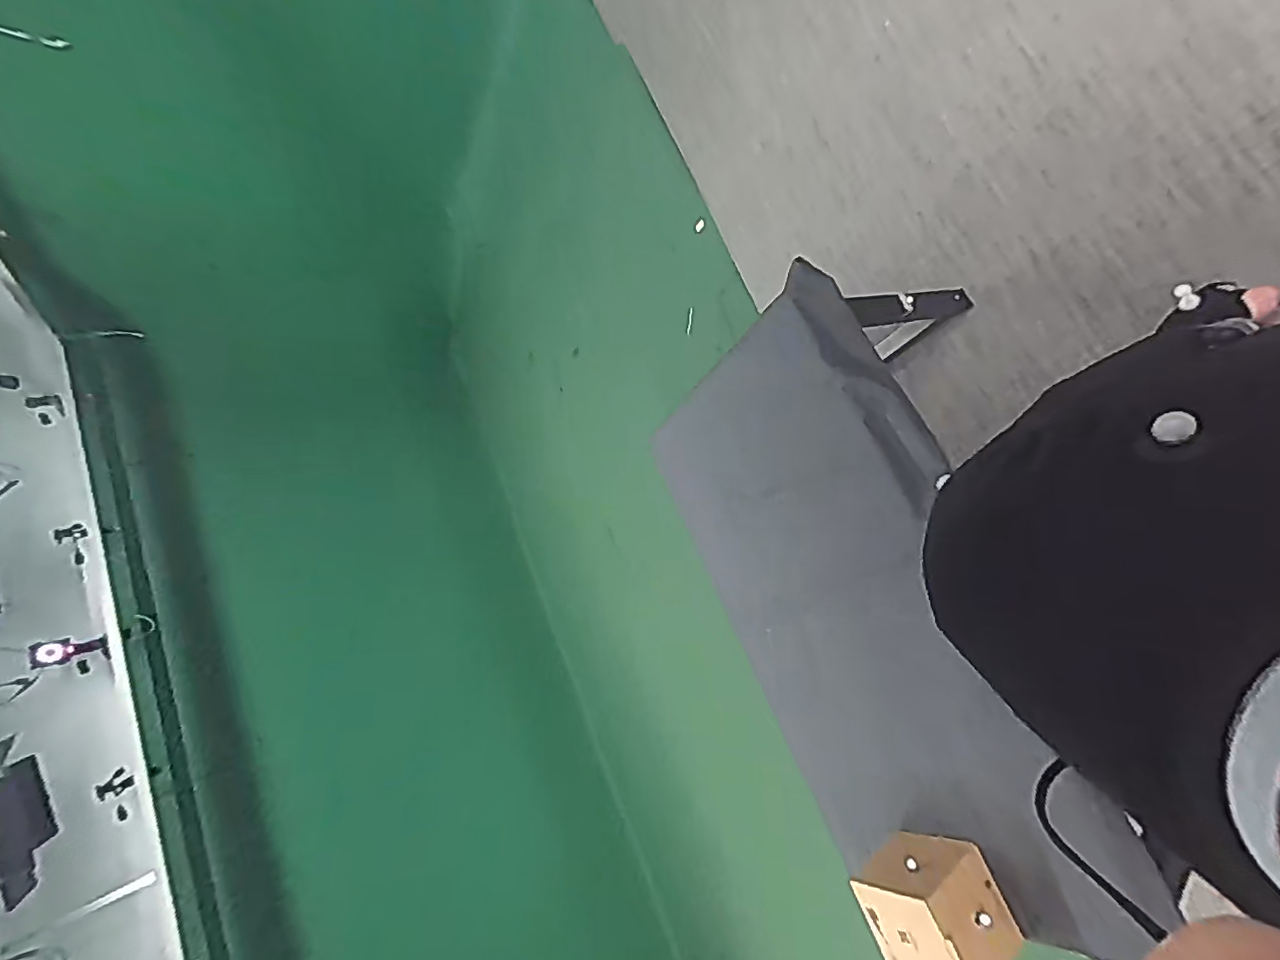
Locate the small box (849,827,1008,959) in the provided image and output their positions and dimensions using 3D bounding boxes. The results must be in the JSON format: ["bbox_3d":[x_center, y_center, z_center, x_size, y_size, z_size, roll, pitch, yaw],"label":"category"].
[{"bbox_3d":[0.533,0.769,0.991,0.179,0.176,0.168,-42,67,53],"label":"small box"}]
